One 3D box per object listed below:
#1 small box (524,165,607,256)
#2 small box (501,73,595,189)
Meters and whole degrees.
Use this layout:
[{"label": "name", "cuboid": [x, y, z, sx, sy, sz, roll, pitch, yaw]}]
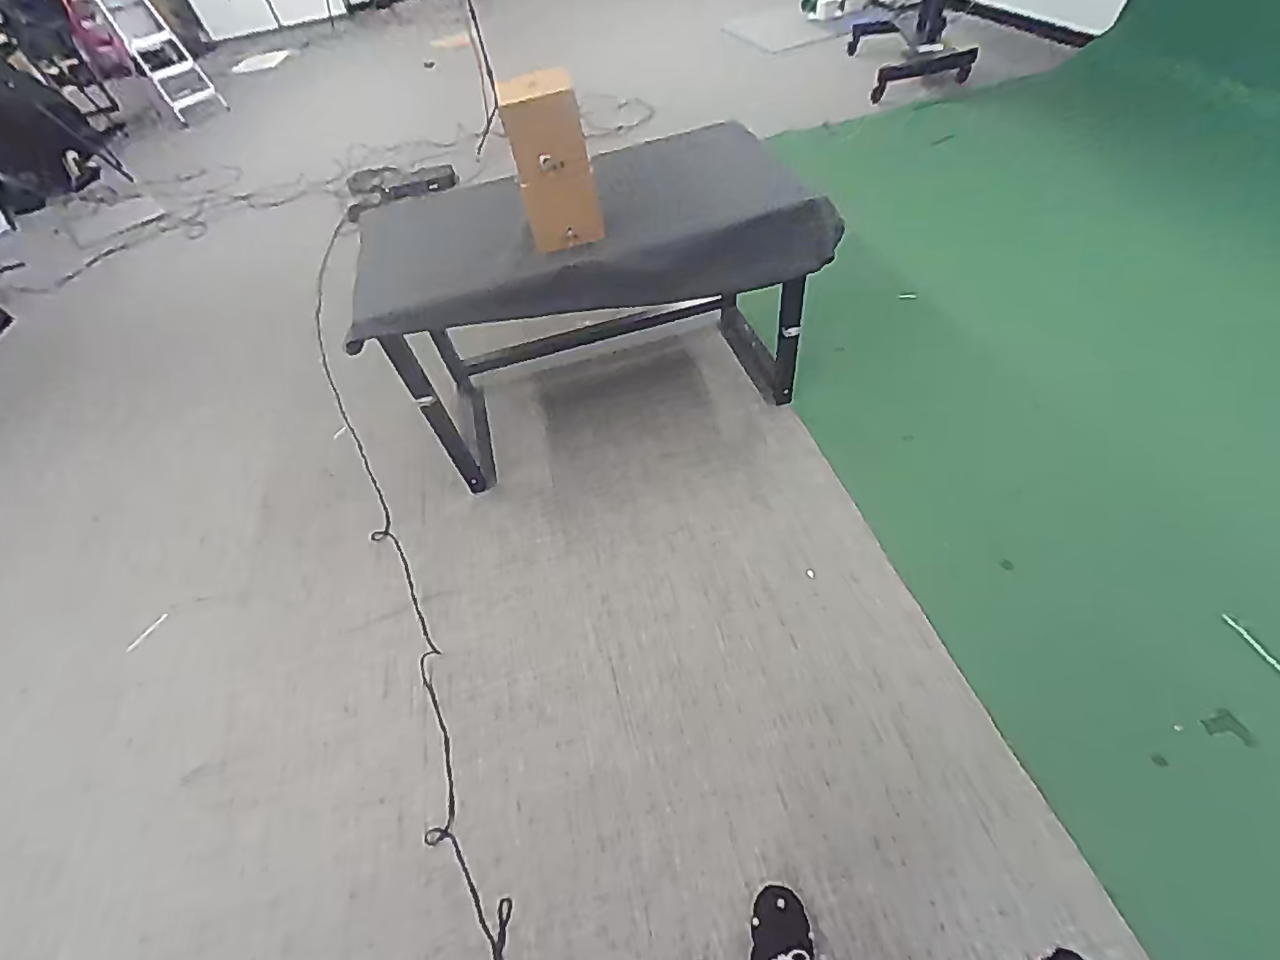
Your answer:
[{"label": "small box", "cuboid": [-0.186, -0.698, 1.374, 0.179, 0.176, 0.168, -14, 50, -3]}, {"label": "small box", "cuboid": [-0.212, -0.806, 1.255, 0.168, 0.176, 0.179, -16, 52, -1]}]
